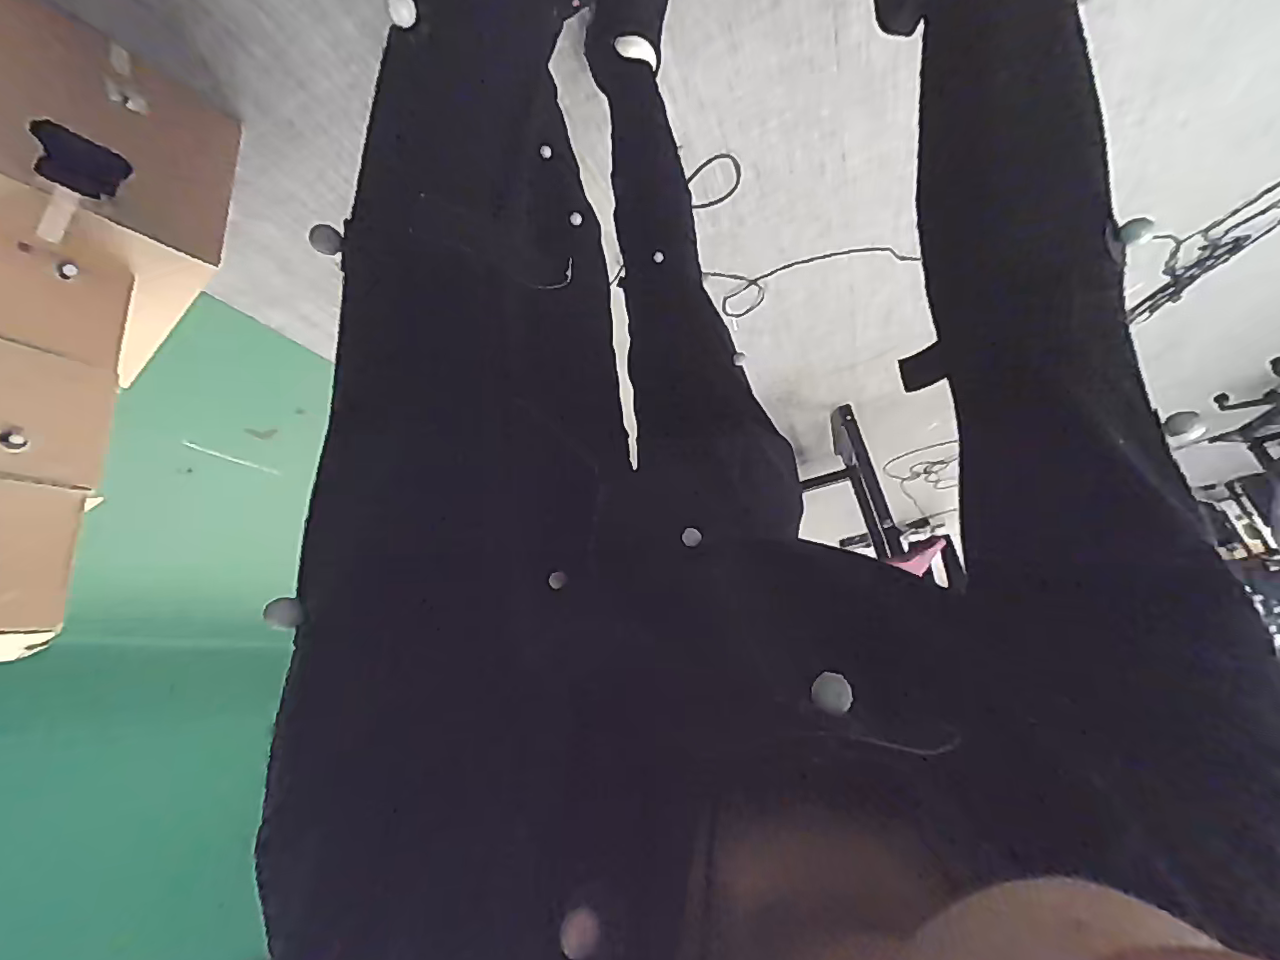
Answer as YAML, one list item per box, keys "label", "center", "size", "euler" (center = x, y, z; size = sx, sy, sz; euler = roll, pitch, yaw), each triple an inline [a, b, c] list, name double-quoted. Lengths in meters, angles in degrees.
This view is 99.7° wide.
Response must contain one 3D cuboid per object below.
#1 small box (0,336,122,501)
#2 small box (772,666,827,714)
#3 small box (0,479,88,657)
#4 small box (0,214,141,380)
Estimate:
- label: "small box"
  center: [-0.762, -0.059, 0.636]
  size: [0.168, 0.176, 0.179]
  euler: [-22, 155, 25]
- label: "small box"
  center: [0.684, 0.896, 2.316]
  size: [0.179, 0.176, 0.168]
  euler: [-18, 155, 18]
- label: "small box"
  center: [-0.738, 0.091, 0.574]
  size: [0.168, 0.176, 0.179]
  euler: [-23, 156, 26]
- label: "small box"
  center: [-0.796, -0.203, 0.707]
  size: [0.179, 0.176, 0.168]
  euler: [-23, 156, 27]
